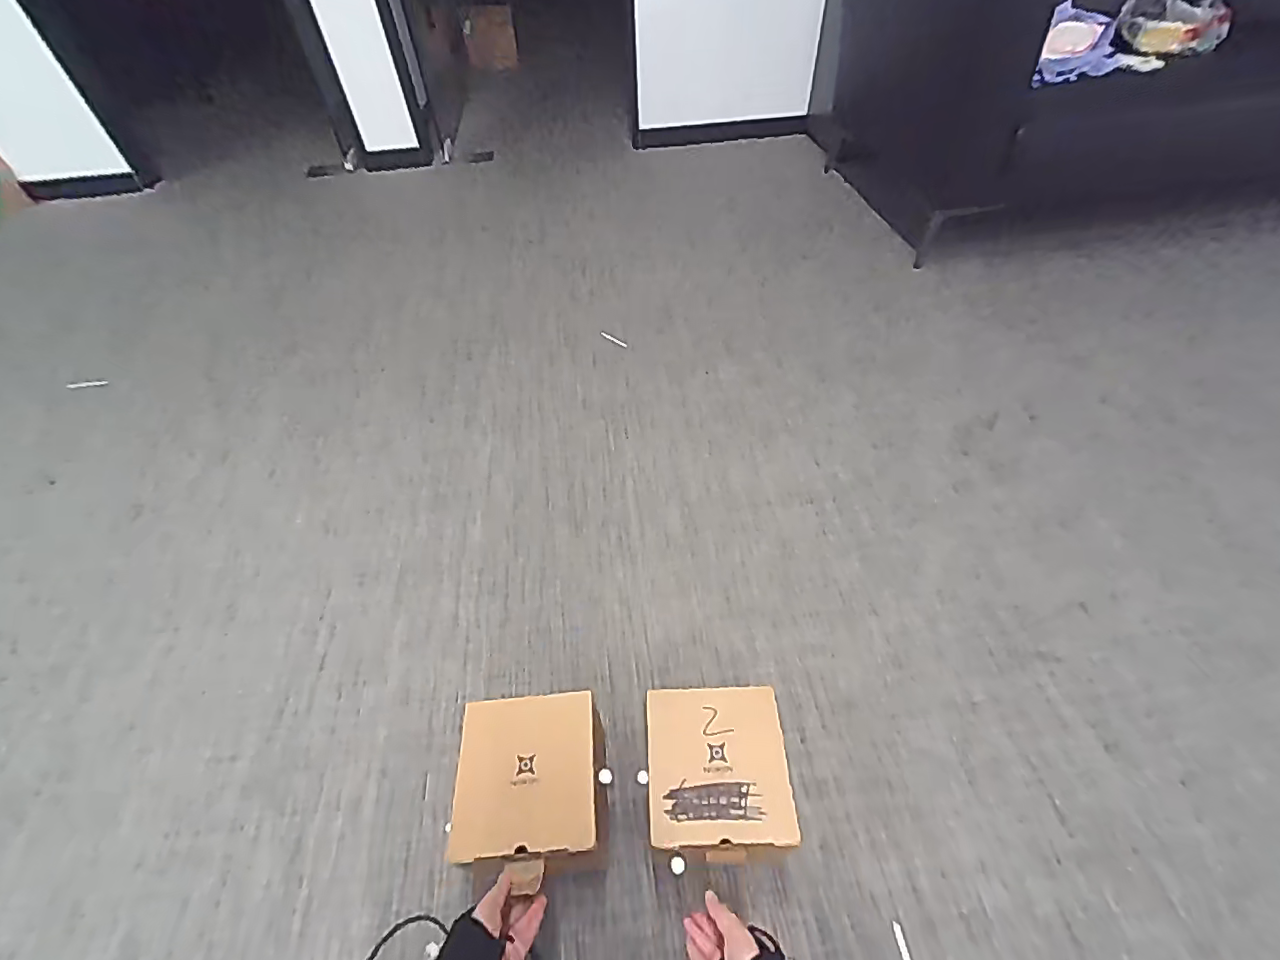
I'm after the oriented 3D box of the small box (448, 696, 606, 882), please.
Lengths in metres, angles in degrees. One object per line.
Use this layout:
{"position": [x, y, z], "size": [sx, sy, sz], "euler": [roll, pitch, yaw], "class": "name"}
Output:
{"position": [-0.134, 0.407, 0.711], "size": [0.168, 0.176, 0.179], "euler": [-5, 49, -1], "class": "small box"}
